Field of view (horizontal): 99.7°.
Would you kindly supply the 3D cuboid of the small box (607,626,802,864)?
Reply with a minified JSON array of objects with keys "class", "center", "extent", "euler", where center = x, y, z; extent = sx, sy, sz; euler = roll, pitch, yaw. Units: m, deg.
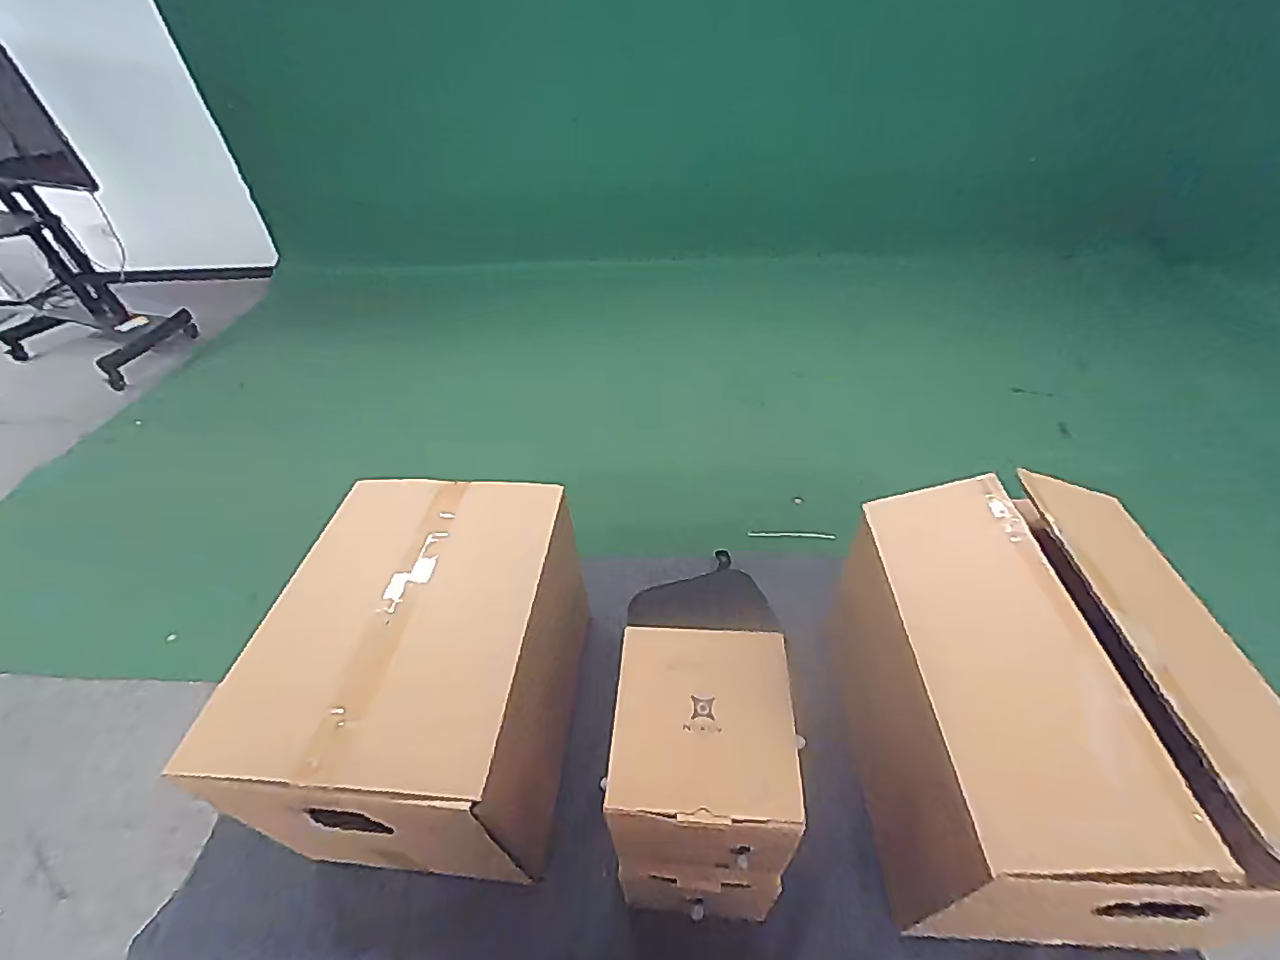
[{"class":"small box","center":[0.063,0.275,0.561],"extent":[0.168,0.176,0.179],"euler":[2,43,4]}]
